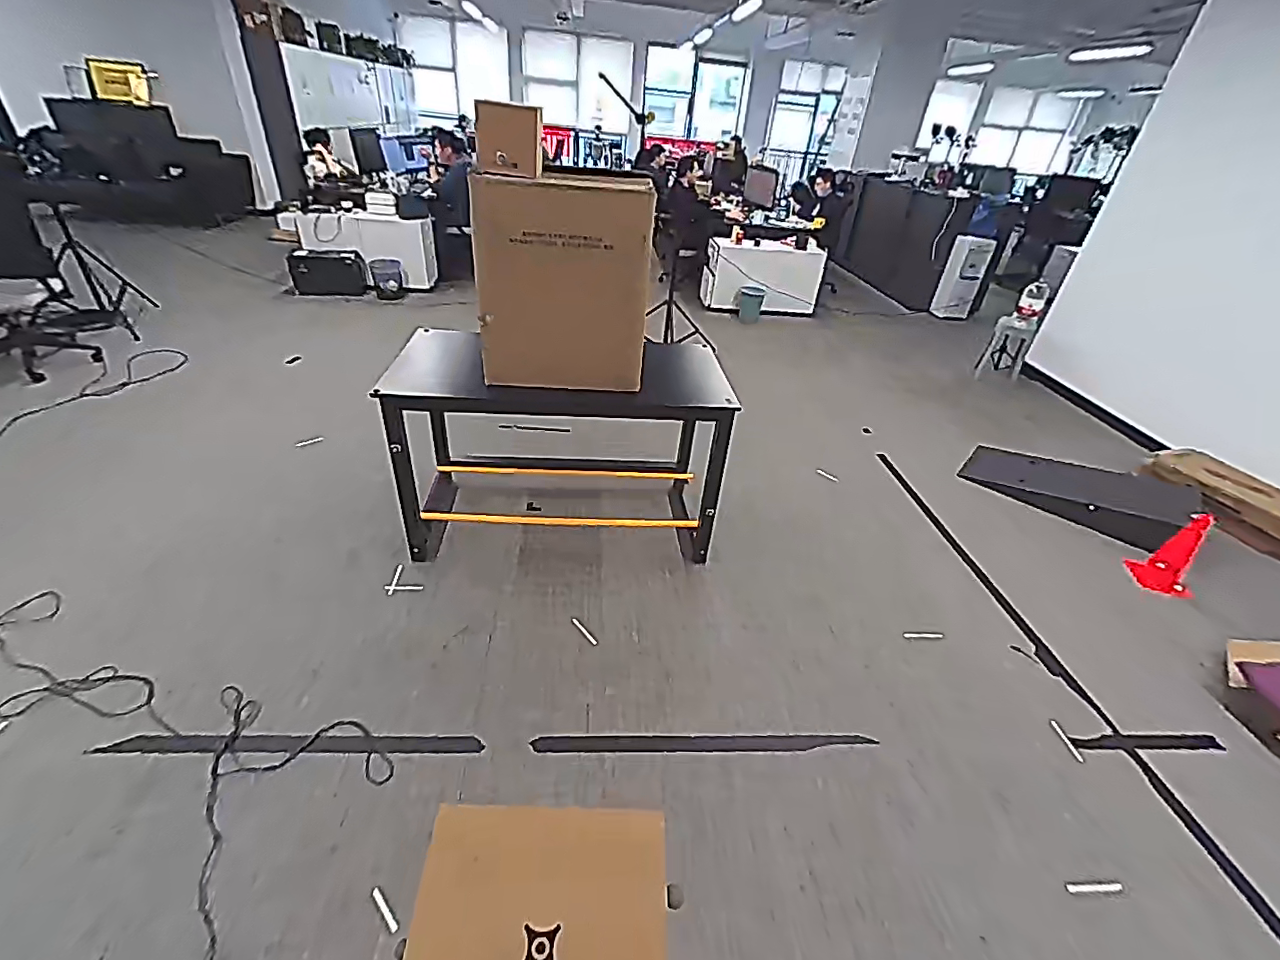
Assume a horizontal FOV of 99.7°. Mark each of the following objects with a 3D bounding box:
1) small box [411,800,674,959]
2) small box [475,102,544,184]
[{"bbox_3d":[-0.067,0.357,0.389,0.168,0.176,0.179,4,43,-3],"label":"small box"},{"bbox_3d":[-0.361,-0.946,1.517,0.168,0.176,0.179,2,36,-7],"label":"small box"}]
